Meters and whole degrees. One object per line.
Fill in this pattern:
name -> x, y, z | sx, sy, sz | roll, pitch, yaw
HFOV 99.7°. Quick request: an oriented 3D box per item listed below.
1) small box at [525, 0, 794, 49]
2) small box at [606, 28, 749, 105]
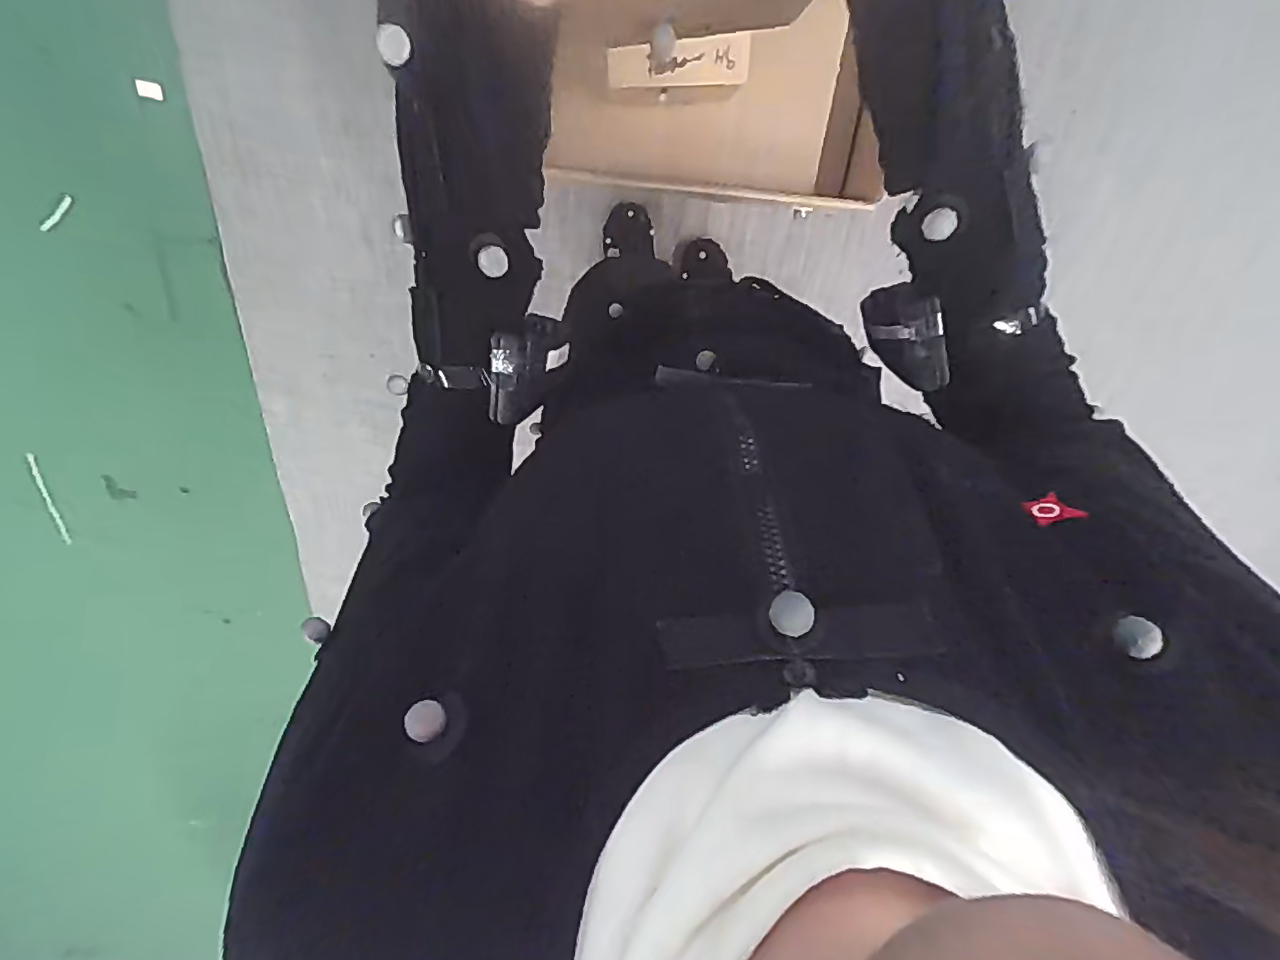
small box -> 0.006, -0.331, 0.245 | 0.168, 0.176, 0.179 | -5, 118, 3
small box -> 0.042, -0.583, 0.668 | 0.168, 0.176, 0.179 | -1, 118, 1
